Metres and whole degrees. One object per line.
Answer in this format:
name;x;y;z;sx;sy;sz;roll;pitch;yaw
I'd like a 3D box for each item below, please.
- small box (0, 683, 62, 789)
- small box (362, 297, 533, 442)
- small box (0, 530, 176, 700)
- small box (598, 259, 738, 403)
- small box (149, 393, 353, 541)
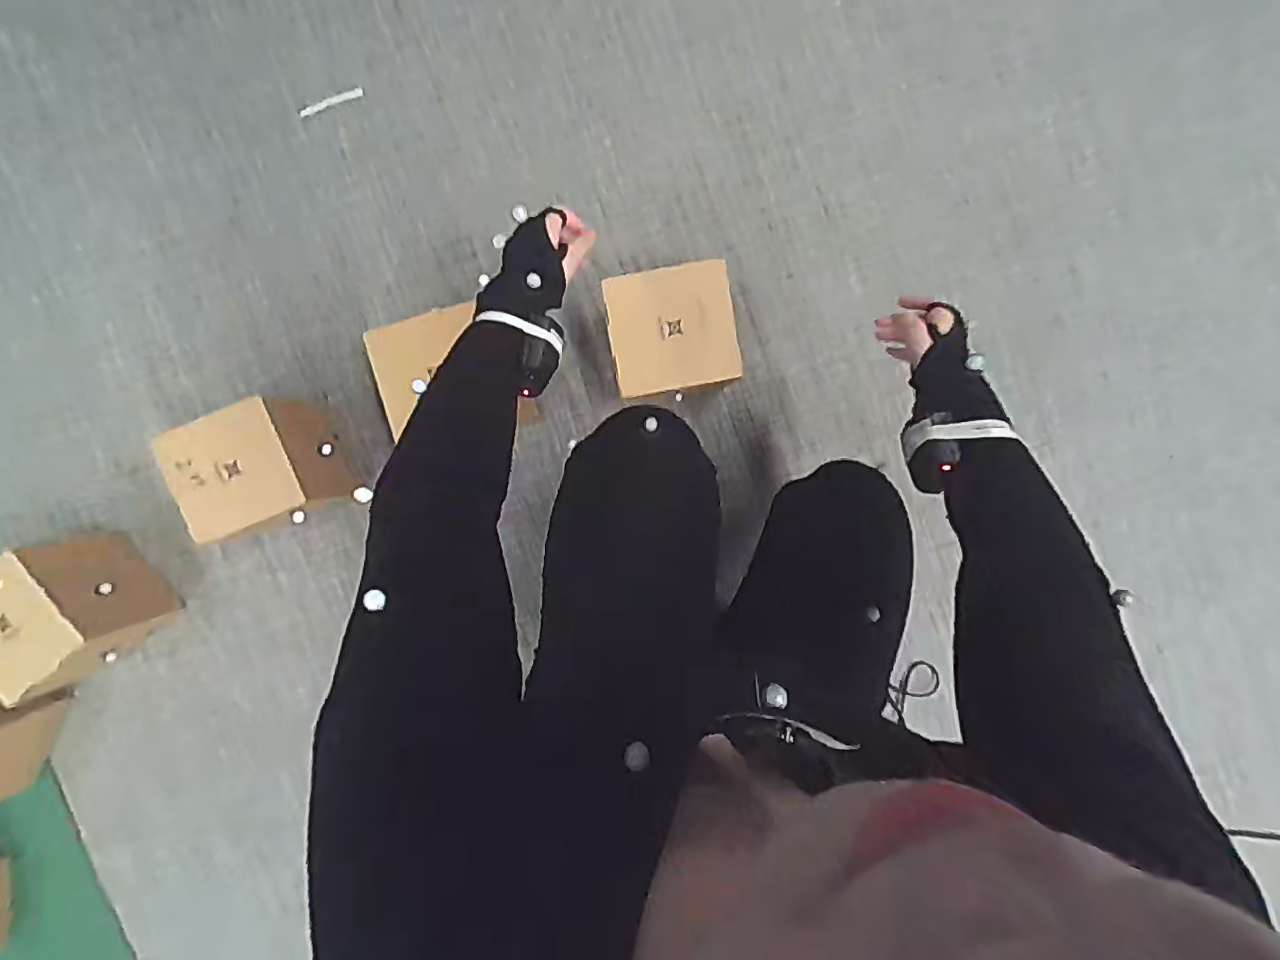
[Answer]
small box;-1.114;0.417;0.873;0.168;0.176;0.179;26;93;-1
small box;-0.282;-0.157;0.830;0.179;0.176;0.168;-15;93;0
small box;-0.909;0.200;0.857;0.168;0.176;0.179;-37;93;3
small box;0.040;-0.214;0.823;0.179;0.176;0.168;-9;94;0
small box;-0.579;-0.023;0.838;0.179;0.176;0.168;-21;92;1
